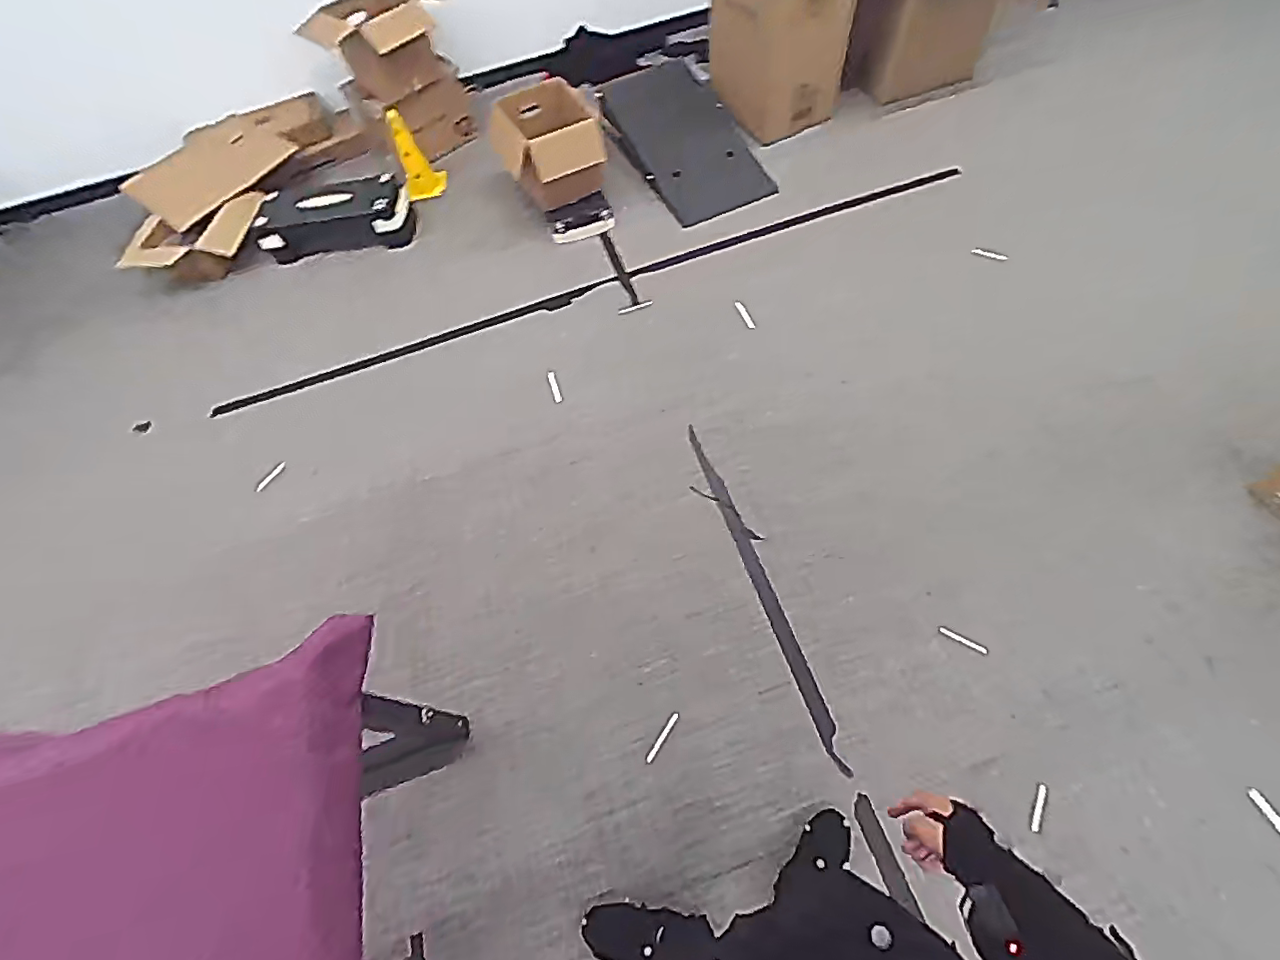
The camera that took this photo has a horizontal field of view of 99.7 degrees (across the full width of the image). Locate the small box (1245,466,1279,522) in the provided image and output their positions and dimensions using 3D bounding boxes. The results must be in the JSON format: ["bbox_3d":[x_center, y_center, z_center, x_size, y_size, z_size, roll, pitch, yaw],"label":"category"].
[{"bbox_3d":[1.888,0.015,1.510,0.179,0.176,0.168,-25,60,-7],"label":"small box"}]
